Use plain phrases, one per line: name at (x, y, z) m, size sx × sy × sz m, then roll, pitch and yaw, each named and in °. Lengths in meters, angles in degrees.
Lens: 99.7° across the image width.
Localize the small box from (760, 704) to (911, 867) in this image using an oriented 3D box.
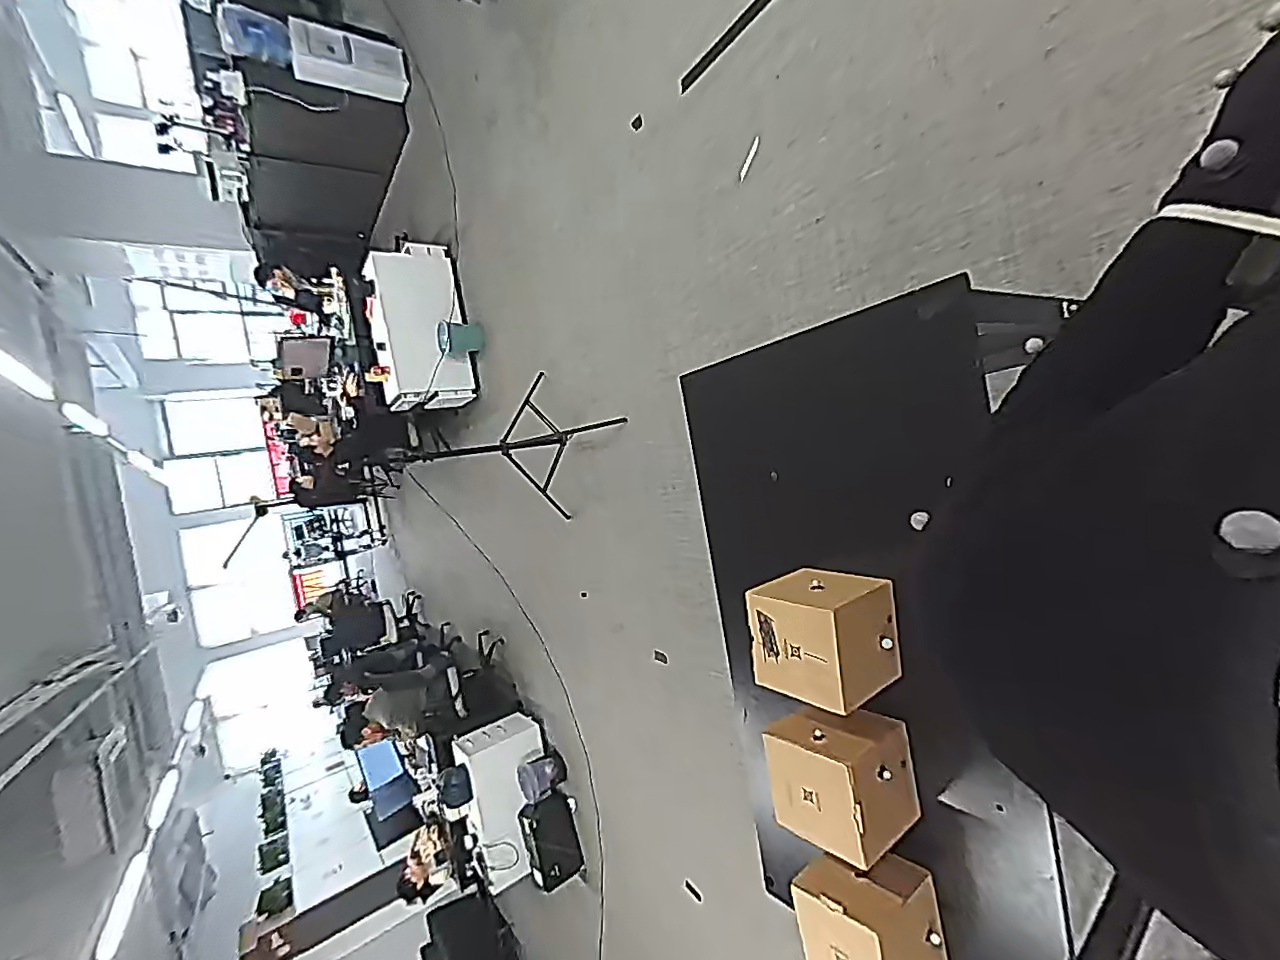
small box at (0.338, 0.498, 0.924) m, size 0.179 × 0.176 × 0.168 m, roll -9°, pitch 91°, yaw 55°

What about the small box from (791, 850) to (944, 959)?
small box at (0.388, 0.755, 0.923) m, size 0.168 × 0.176 × 0.179 m, roll -12°, pitch 88°, yaw 55°

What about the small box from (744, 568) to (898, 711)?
small box at (0.301, 0.252, 0.905) m, size 0.179 × 0.176 × 0.168 m, roll -1°, pitch 98°, yaw 53°
